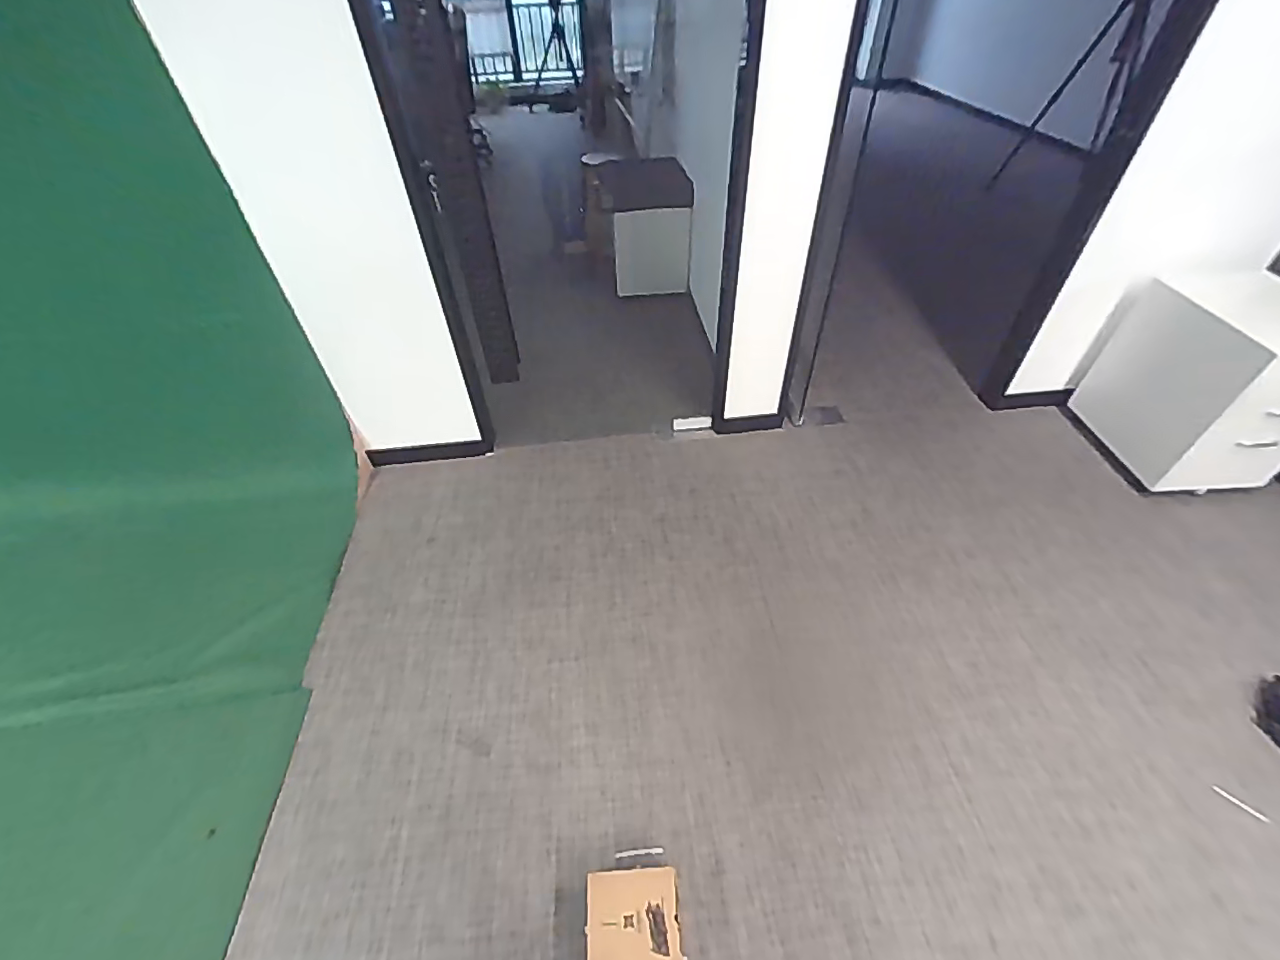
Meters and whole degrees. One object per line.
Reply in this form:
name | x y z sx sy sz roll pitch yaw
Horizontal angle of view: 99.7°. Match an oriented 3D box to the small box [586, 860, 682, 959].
small box | -0.013 0.883 1.088 0.179 0.176 0.168 -4 45 -1
